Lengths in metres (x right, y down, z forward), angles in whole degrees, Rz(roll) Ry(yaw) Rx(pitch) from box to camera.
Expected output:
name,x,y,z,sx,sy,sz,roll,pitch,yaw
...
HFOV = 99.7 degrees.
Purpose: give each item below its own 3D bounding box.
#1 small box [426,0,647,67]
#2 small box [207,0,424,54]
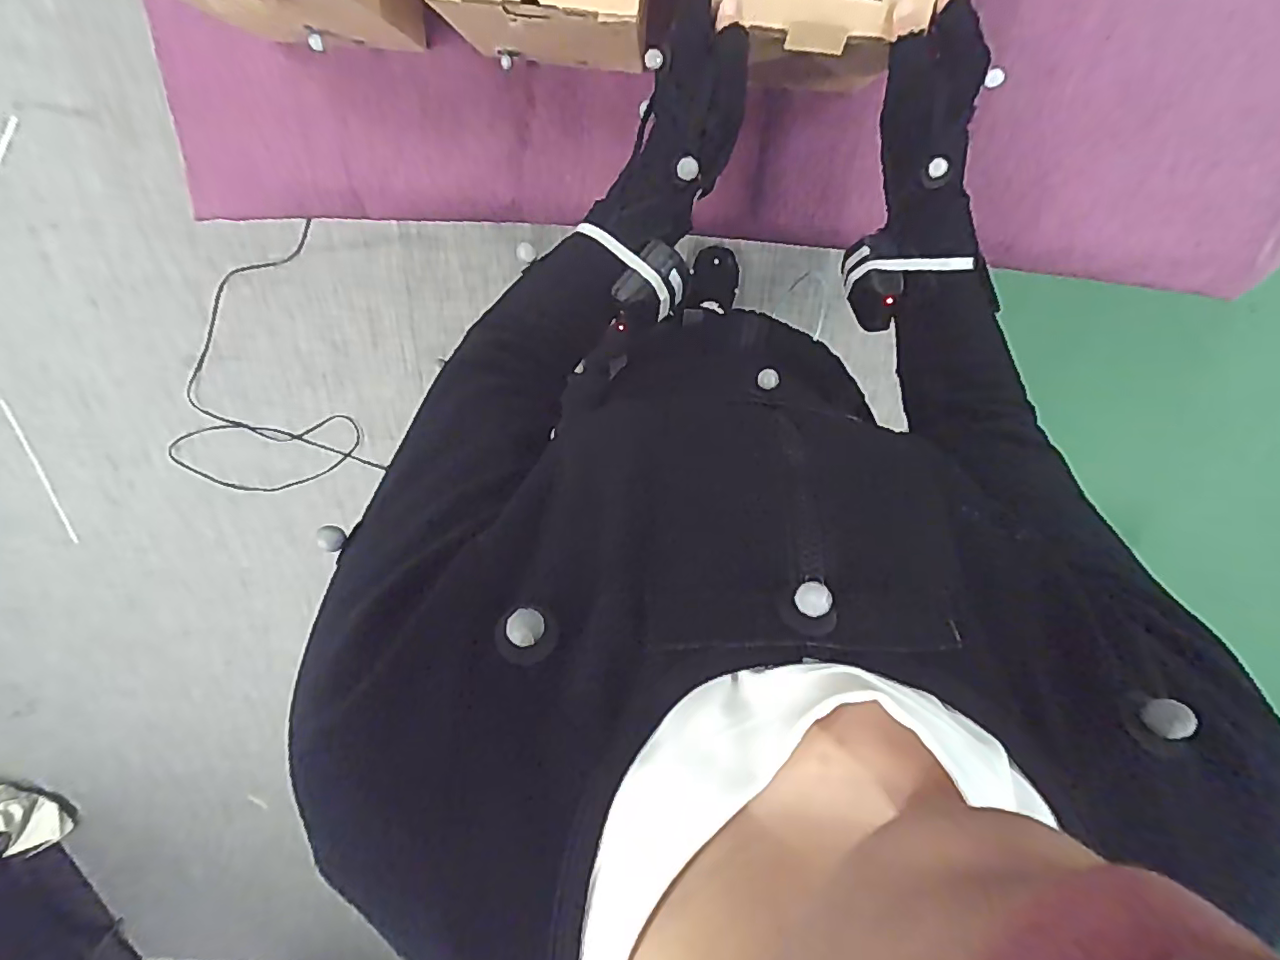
name,x,y,z,sx,sy,sz,roll,pitch,yaw
small box,-0.074,-0.469,0.445,0.168,0.176,0.179,5,116,-1
small box,-0.294,-0.485,0.441,0.168,0.176,0.179,4,116,0
